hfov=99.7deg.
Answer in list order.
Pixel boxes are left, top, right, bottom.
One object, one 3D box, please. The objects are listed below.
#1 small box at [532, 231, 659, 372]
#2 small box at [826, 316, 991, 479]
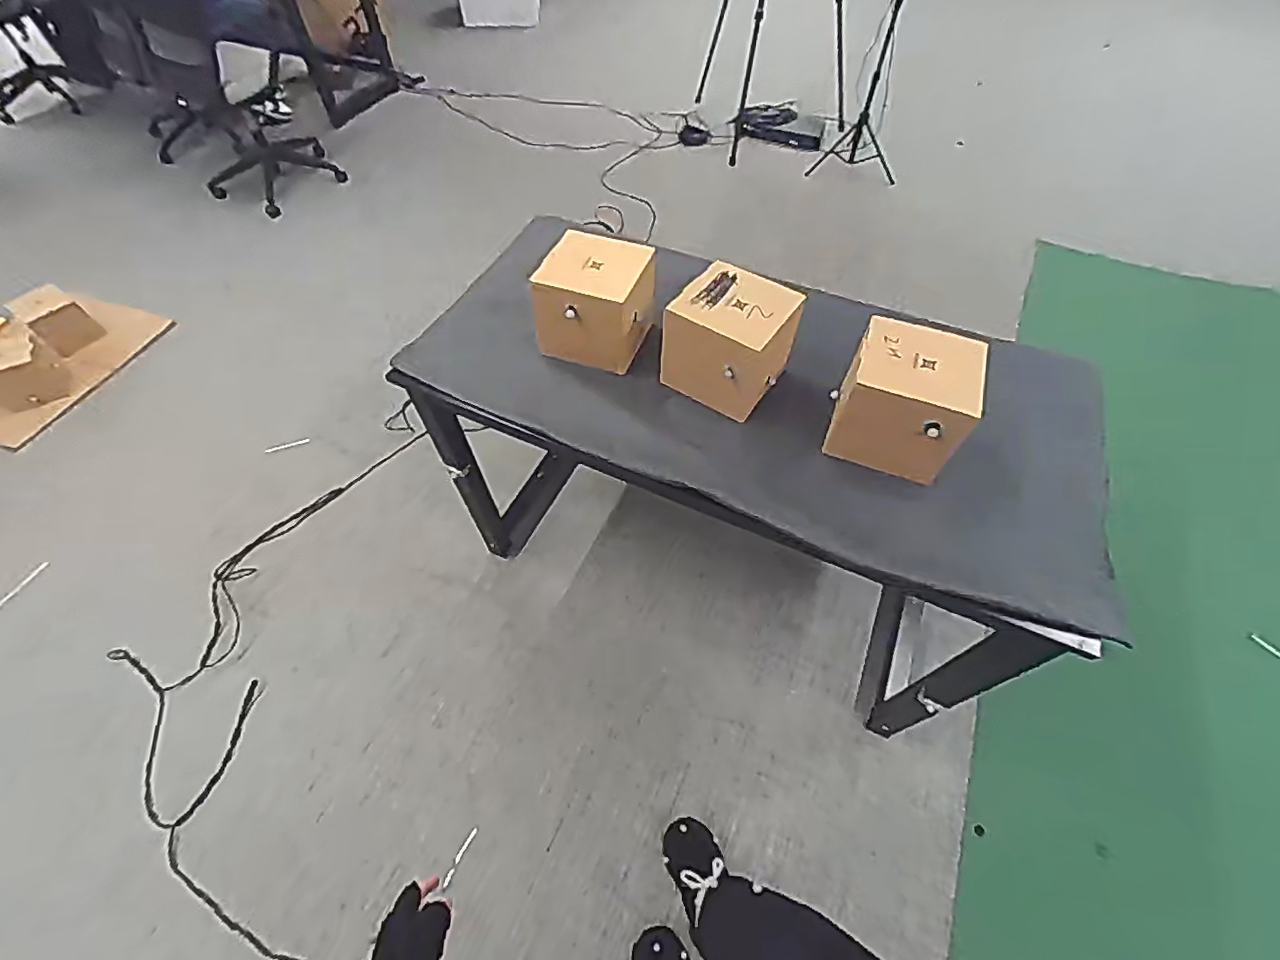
[{"bbox_3d":[-0.074,-0.326,1.005,0.179,0.176,0.168,17,57,11],"label":"small box"},{"bbox_3d":[0.419,-0.124,0.861,0.179,0.176,0.168,20,57,13],"label":"small box"}]
